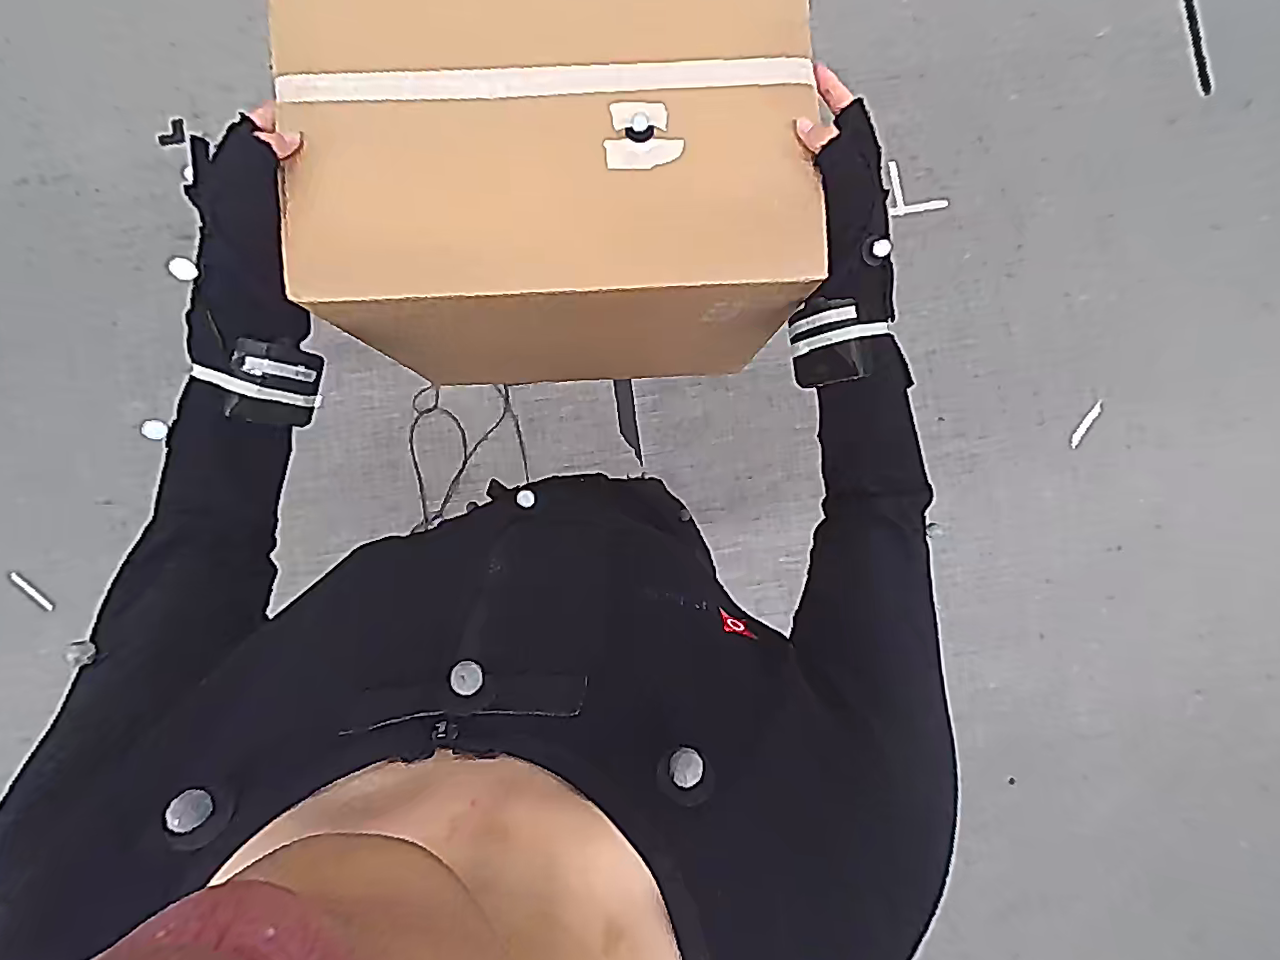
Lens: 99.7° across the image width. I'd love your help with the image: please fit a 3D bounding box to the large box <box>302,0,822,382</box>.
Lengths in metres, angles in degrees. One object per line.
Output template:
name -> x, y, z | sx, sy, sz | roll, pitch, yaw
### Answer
large box -> -0.068, -0.300, 0.575 | 0.408, 0.320, 0.320 | -3, 88, -2
